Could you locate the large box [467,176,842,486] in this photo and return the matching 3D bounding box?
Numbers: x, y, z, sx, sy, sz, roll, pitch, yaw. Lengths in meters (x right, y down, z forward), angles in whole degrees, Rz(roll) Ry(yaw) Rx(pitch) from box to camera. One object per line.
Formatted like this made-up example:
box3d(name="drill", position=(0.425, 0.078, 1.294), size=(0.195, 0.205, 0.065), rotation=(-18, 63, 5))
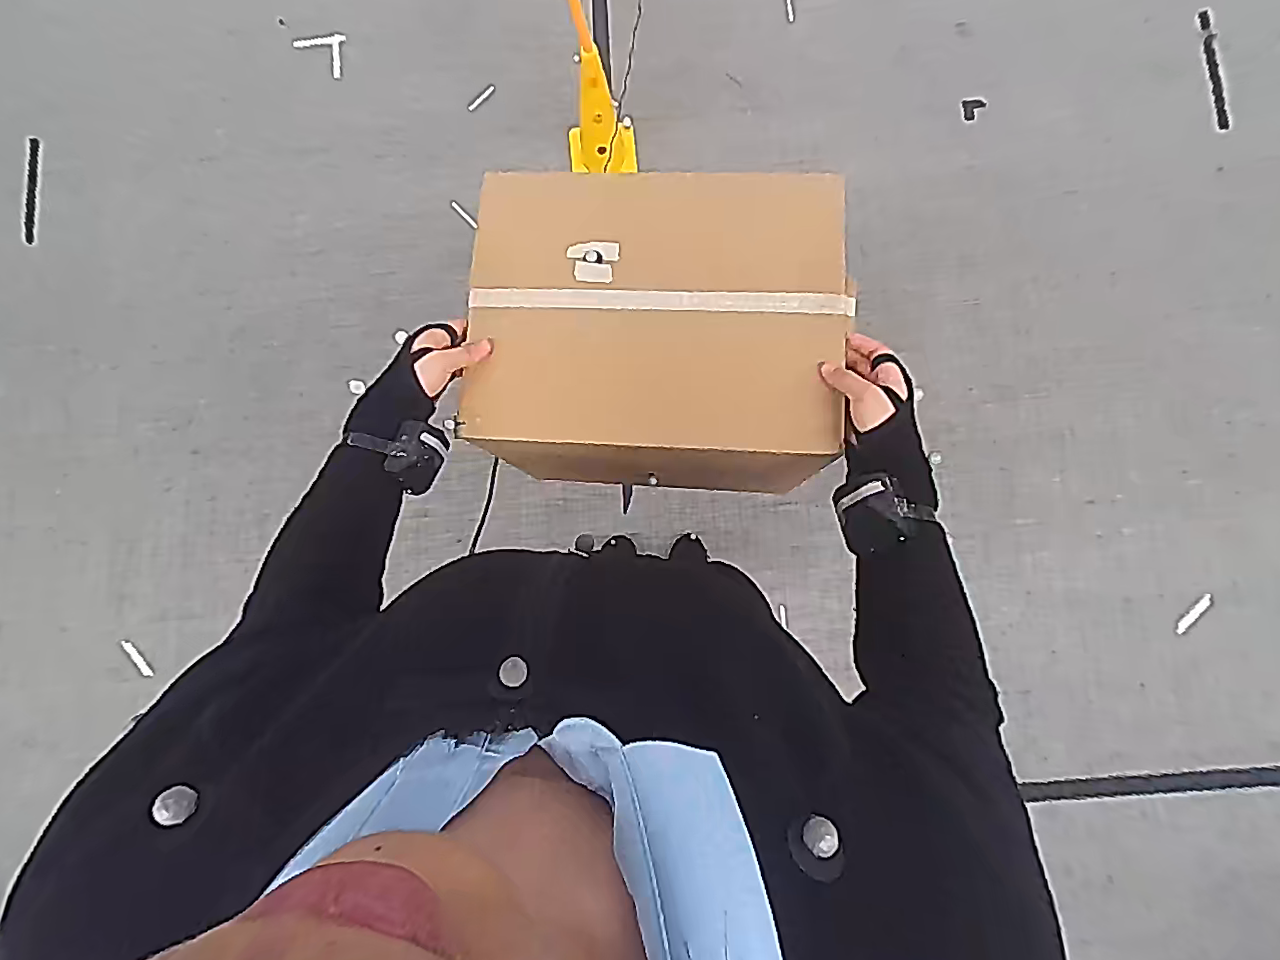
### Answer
box3d(name="large box", position=(0.032, -0.166, 0.736), size=(0.408, 0.320, 0.320), rotation=(3, 80, 6))
